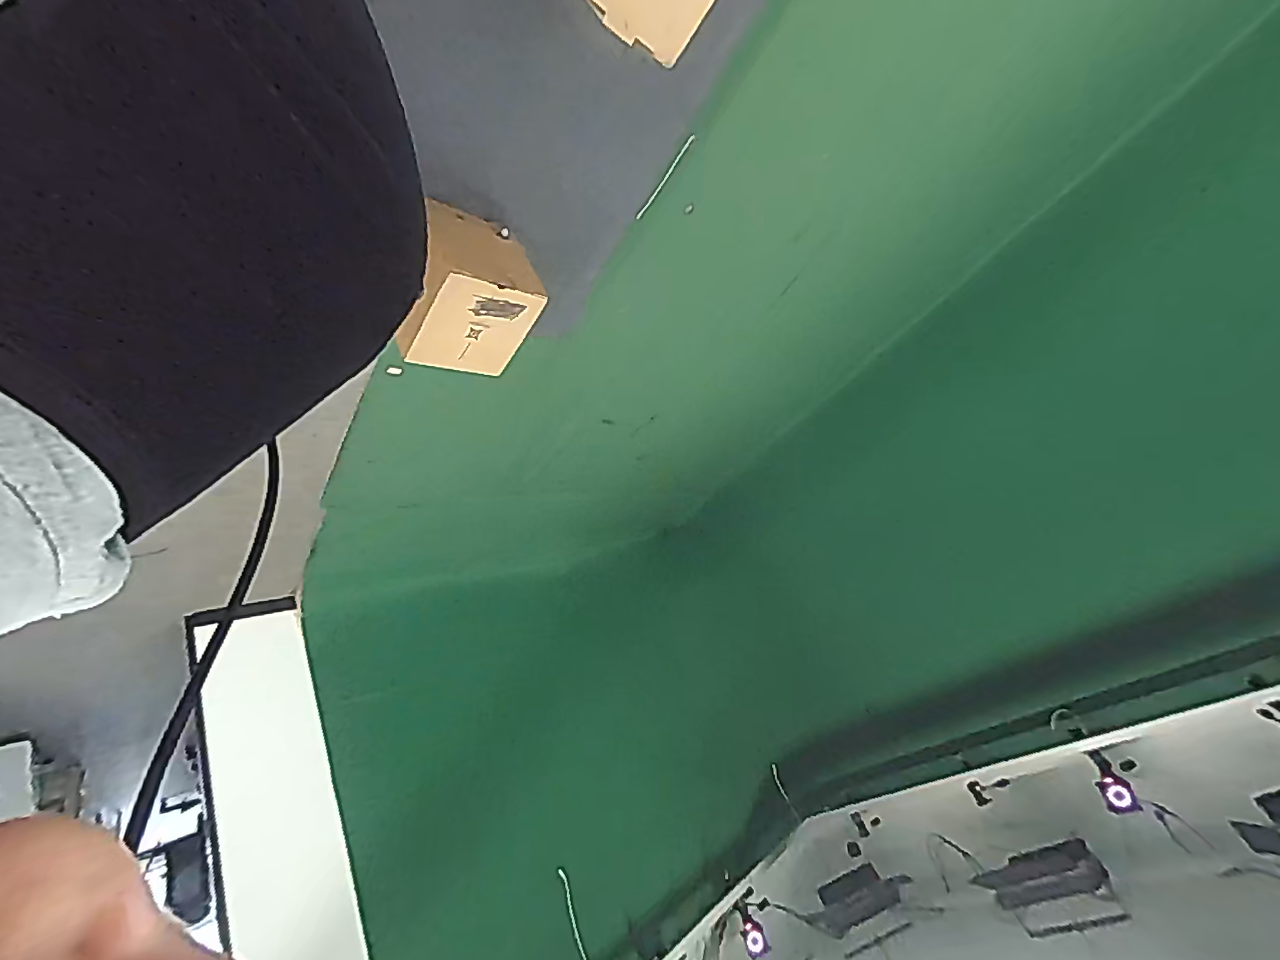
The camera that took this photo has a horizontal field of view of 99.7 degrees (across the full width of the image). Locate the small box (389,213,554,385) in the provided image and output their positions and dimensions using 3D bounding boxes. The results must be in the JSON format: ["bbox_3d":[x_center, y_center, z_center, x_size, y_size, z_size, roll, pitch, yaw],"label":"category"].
[{"bbox_3d":[-0.271,-0.277,0.846,0.168,0.176,0.179,0,144,-47],"label":"small box"}]

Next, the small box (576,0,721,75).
[{"bbox_3d":[-0.004,-0.578,0.547,0.168,0.176,0.179,-3,145,-47],"label":"small box"}]
